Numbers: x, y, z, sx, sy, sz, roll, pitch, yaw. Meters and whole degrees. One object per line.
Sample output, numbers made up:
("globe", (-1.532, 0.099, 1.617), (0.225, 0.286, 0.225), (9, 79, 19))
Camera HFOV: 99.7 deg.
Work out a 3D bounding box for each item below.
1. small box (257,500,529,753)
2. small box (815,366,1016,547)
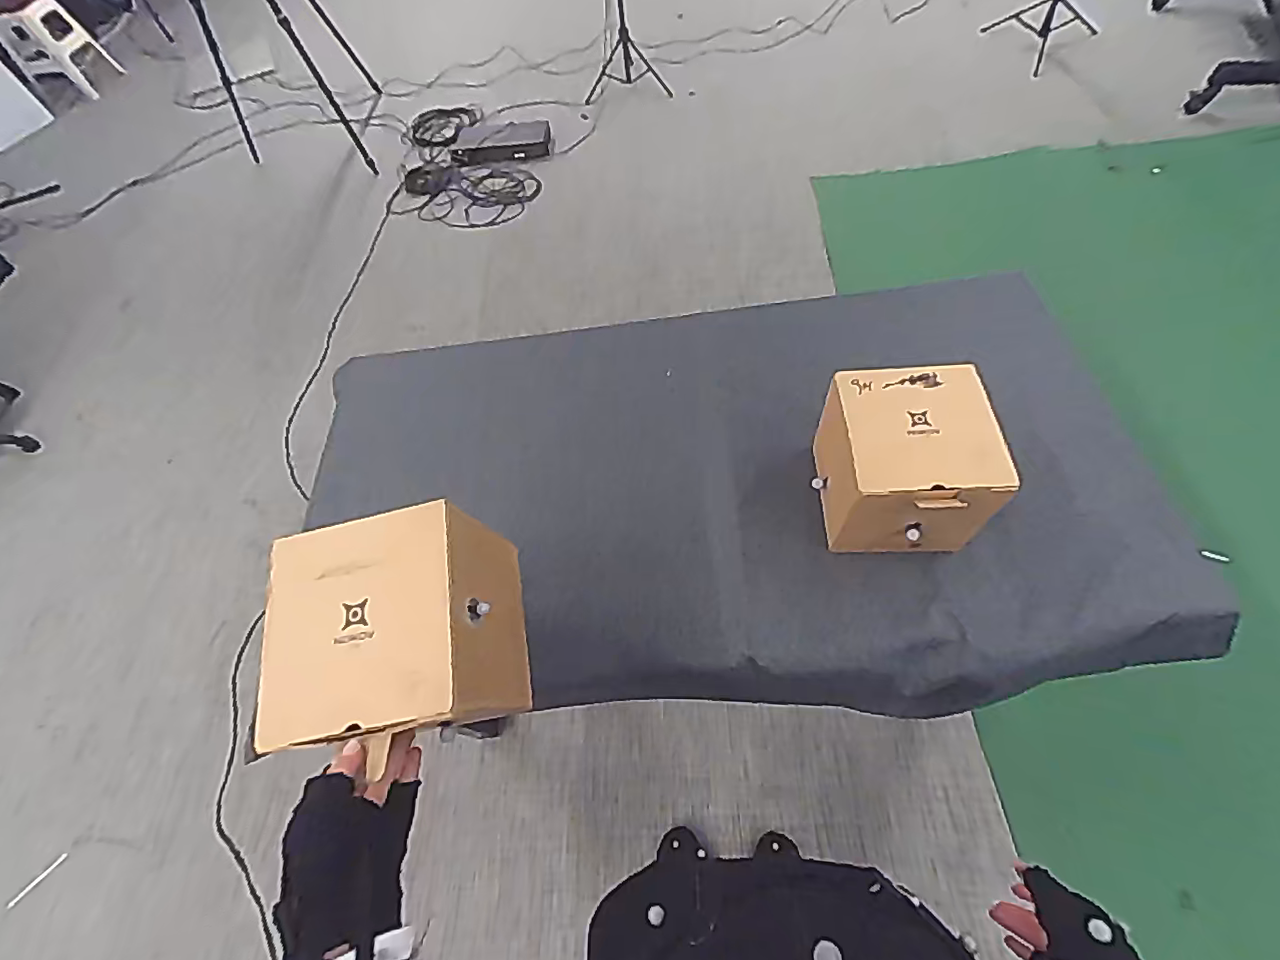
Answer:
("small box", (-0.213, 0.140, 0.509), (0.168, 0.176, 0.179), (-13, 66, 4))
("small box", (0.327, -0.022, 0.686), (0.168, 0.176, 0.179), (-1, 61, 5))
